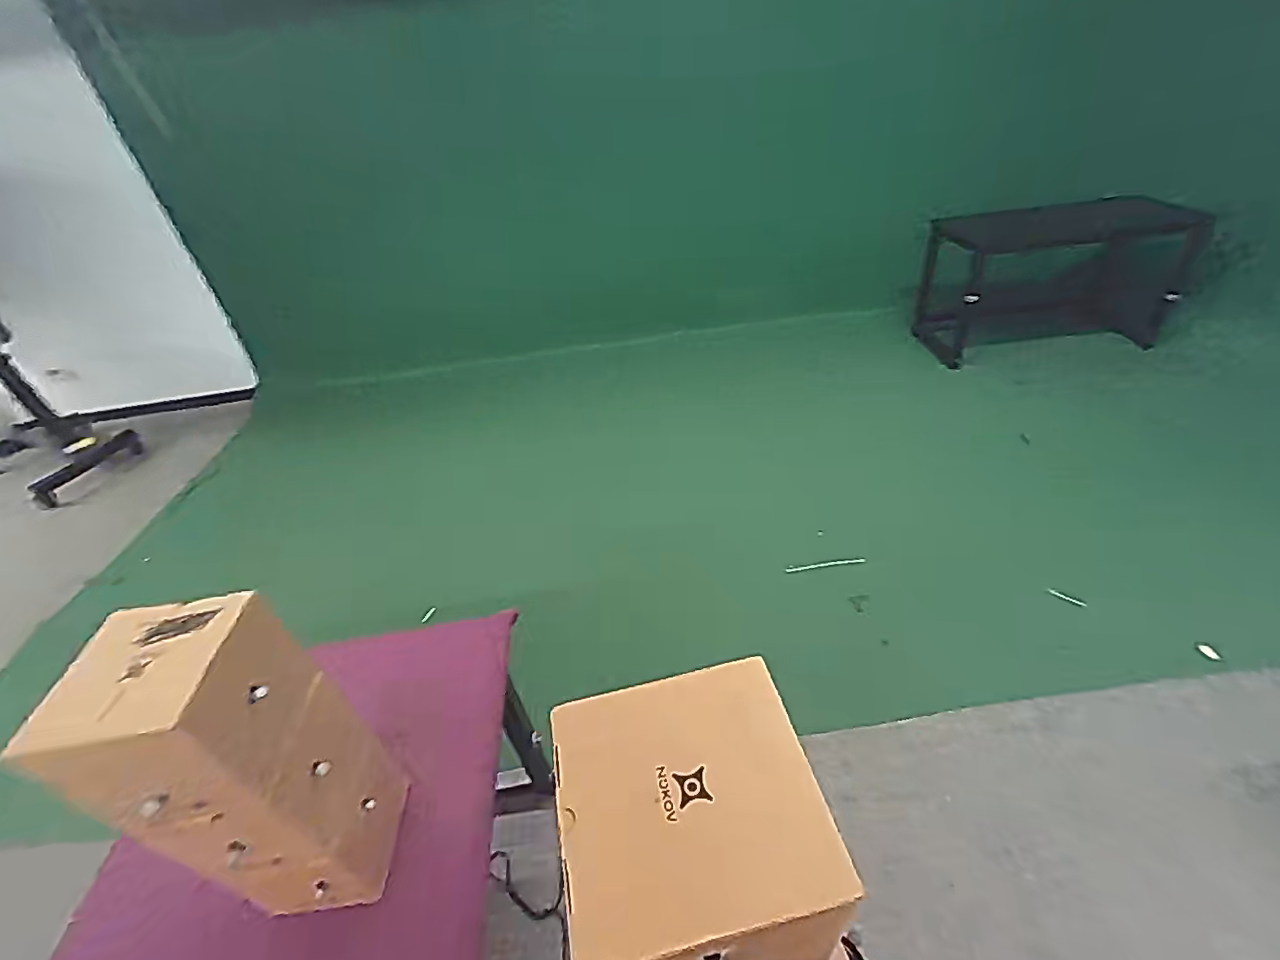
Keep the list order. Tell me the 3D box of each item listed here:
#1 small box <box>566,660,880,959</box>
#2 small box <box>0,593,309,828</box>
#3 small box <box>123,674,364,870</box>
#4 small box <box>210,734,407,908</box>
[{"bbox_3d":[0.049,0.271,0.416,0.179,0.176,0.168,-12,40,-4],"label":"small box"},{"bbox_3d":[-0.516,0.259,0.616,0.168,0.176,0.179,-9,39,-2],"label":"small box"},{"bbox_3d":[-0.497,0.389,0.716,0.168,0.176,0.179,-8,39,-1],"label":"small box"},{"bbox_3d":[-0.477,0.517,0.816,0.168,0.176,0.179,-7,38,0],"label":"small box"}]
